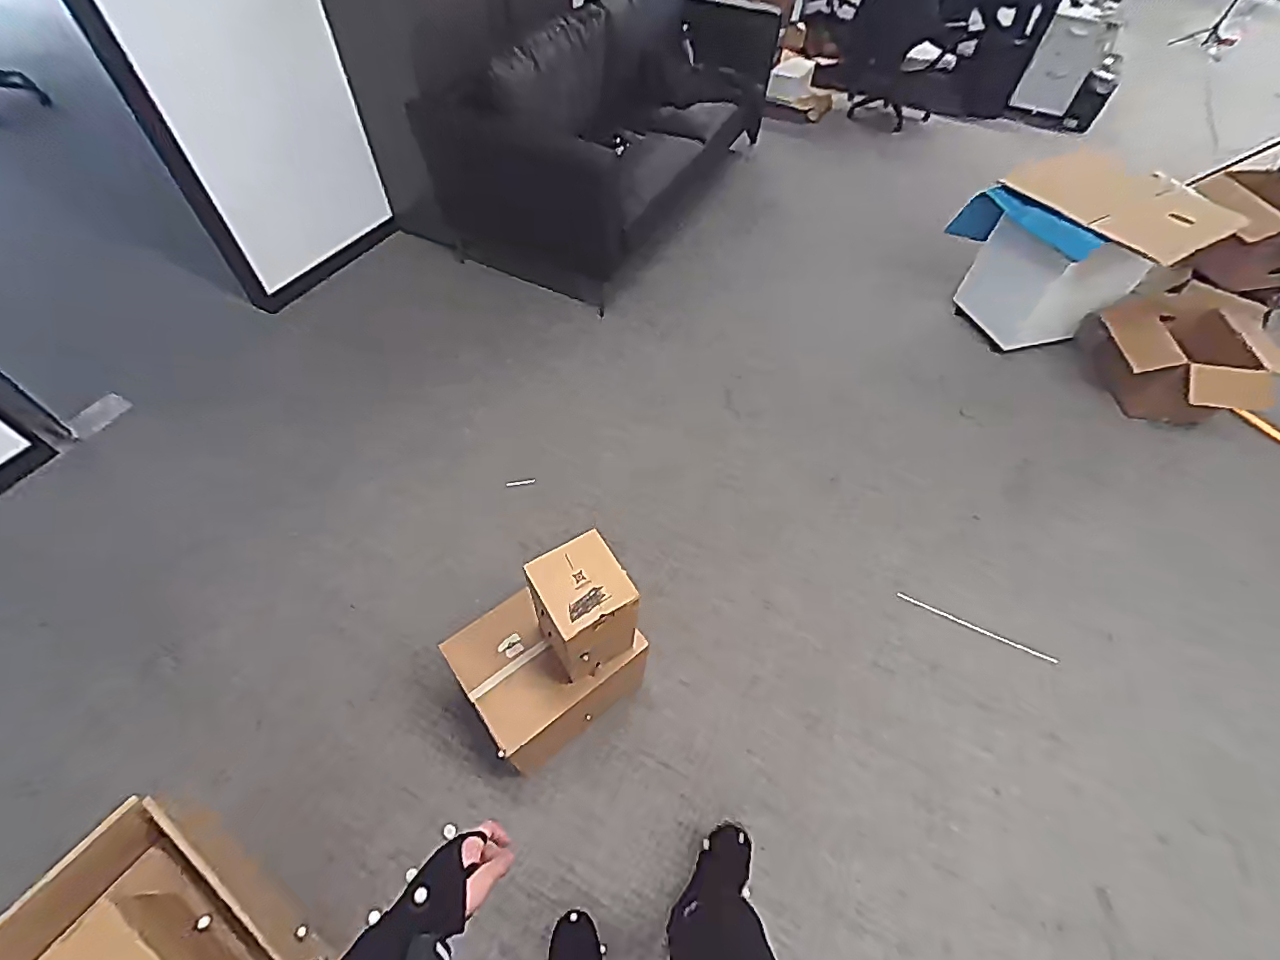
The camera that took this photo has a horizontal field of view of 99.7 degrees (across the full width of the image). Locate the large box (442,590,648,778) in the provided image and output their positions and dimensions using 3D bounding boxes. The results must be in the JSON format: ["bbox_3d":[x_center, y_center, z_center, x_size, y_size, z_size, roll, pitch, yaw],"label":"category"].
[{"bbox_3d":[-0.231,0.492,1.414,0.408,0.320,0.320,-33,62,-23],"label":"large box"}]

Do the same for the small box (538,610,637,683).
[{"bbox_3d":[-0.124,0.332,1.234,0.168,0.176,0.179,-27,62,-20],"label":"small box"}]

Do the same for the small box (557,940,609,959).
[{"bbox_3d":[-0.110,1.090,1.111,0.168,0.176,0.179,13,50,14],"label":"small box"}]

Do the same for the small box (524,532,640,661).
[{"bbox_3d":[-0.114,0.244,1.096,0.168,0.176,0.179,-26,60,-20],"label":"small box"}]
